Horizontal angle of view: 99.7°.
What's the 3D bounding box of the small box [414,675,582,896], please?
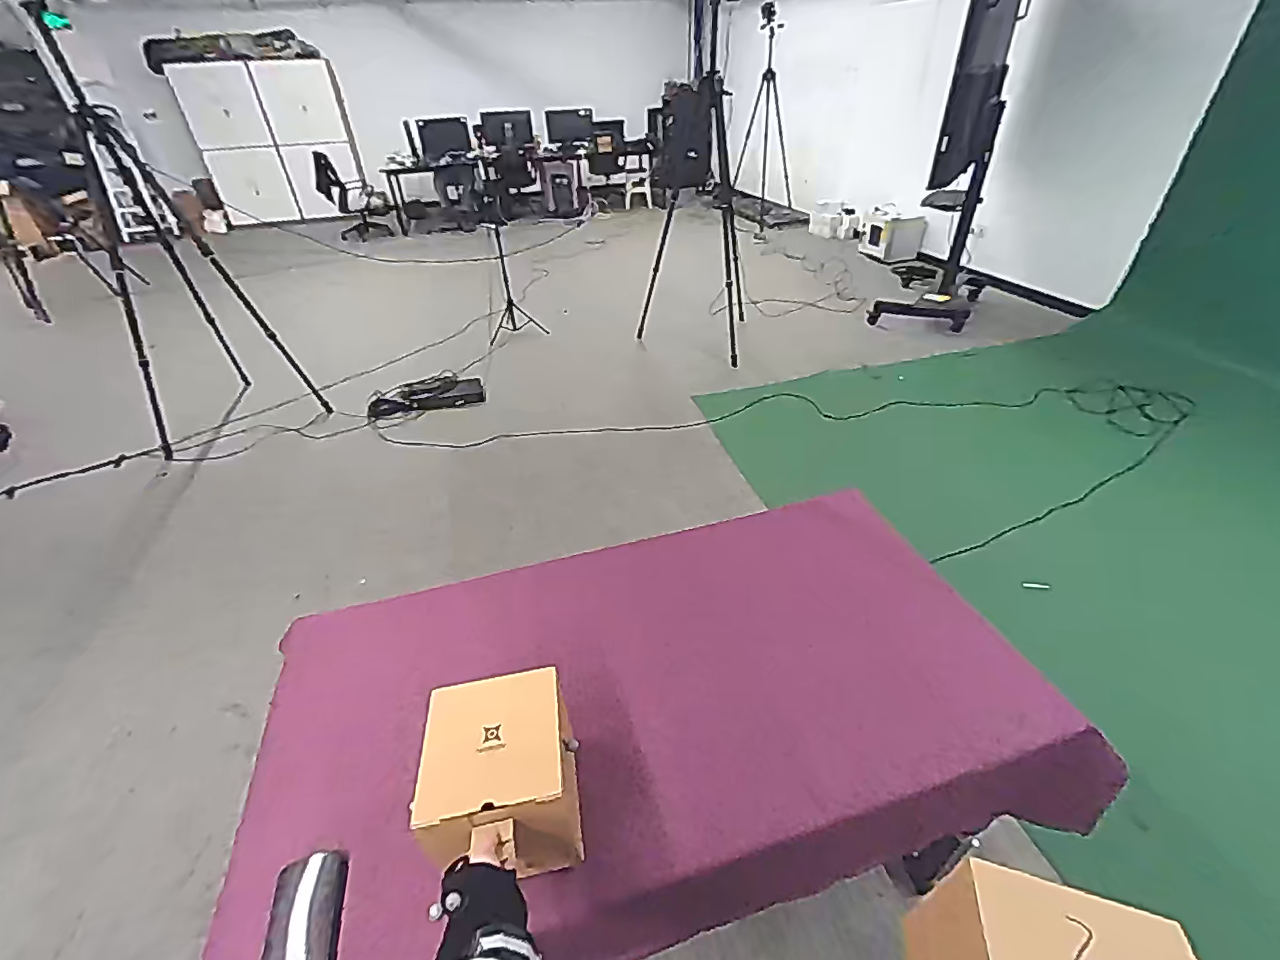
[{"bbox_3d":[-0.171,0.390,0.700,0.168,0.176,0.179,-9,33,-6],"label":"small box"}]
